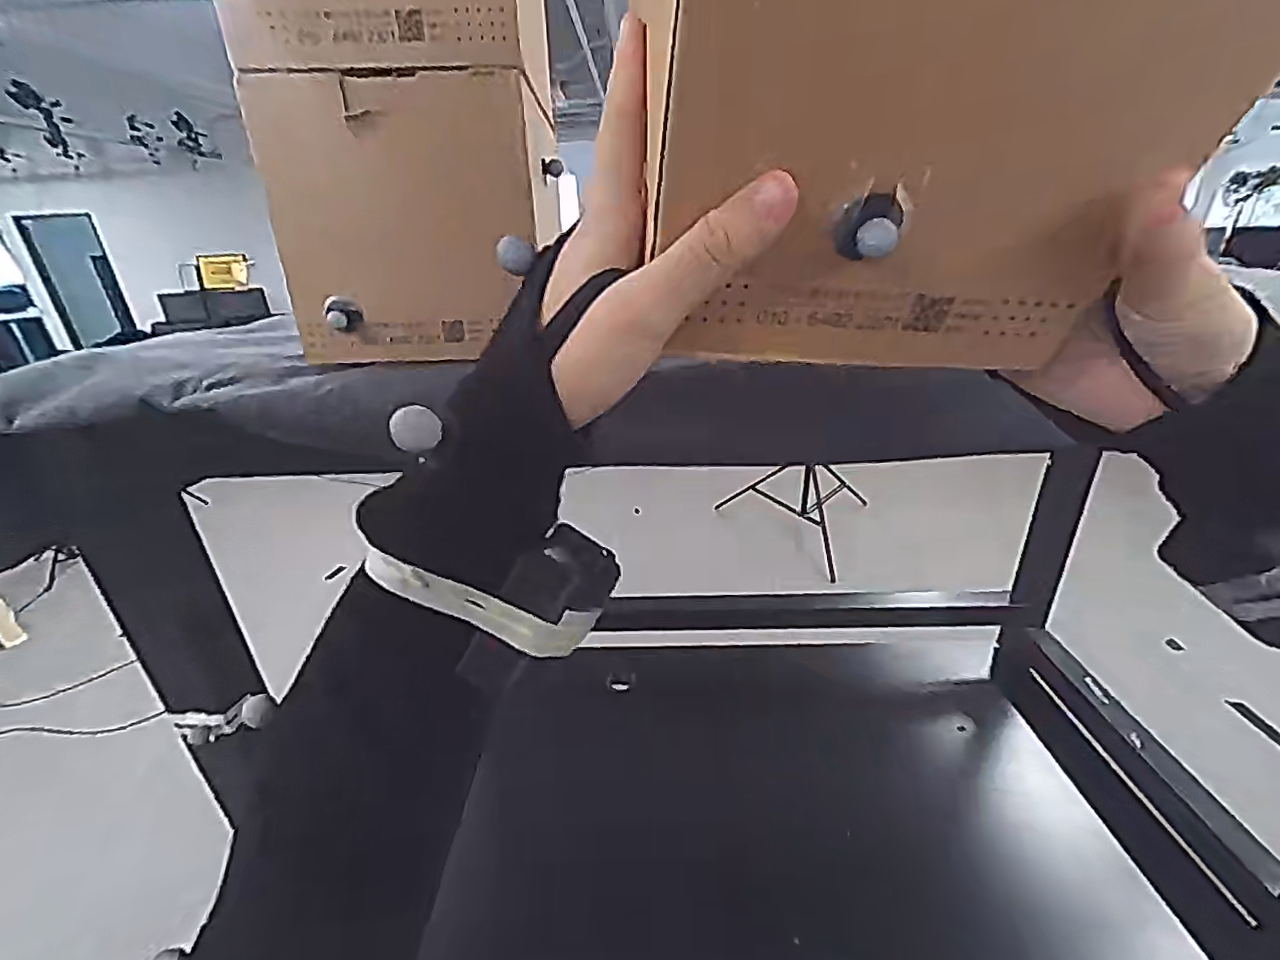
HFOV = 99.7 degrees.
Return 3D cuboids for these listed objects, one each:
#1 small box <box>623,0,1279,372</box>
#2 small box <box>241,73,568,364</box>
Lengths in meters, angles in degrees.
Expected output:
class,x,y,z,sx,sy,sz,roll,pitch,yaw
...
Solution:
class,x,y,z,sx,sy,sz,roll,pitch,yaw
small box,0.083,-0.164,0.206,0.168,0.176,0.179,0,51,-6
small box,-0.149,-0.185,0.418,0.168,0.176,0.179,-2,22,-1
